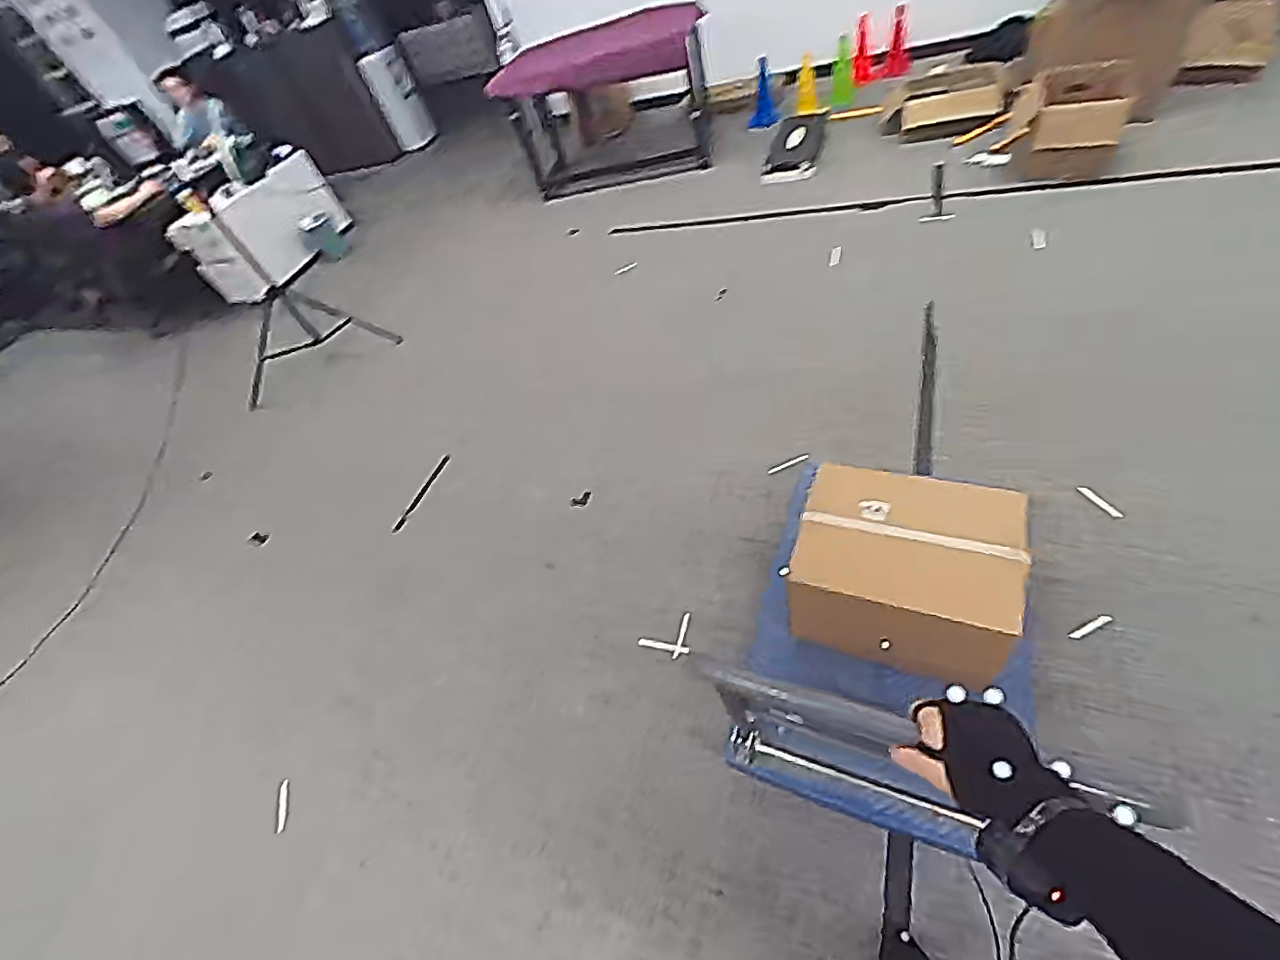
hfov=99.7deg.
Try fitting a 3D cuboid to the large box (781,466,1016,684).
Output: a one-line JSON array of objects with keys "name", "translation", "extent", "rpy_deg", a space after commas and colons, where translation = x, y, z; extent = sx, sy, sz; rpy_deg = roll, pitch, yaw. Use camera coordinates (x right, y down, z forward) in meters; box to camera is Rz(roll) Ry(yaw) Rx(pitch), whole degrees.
[{"name": "large box", "translation": [0.556, 0.202, 1.188], "extent": [0.408, 0.320, 0.320], "rpy_deg": [9, 55, 26]}]
